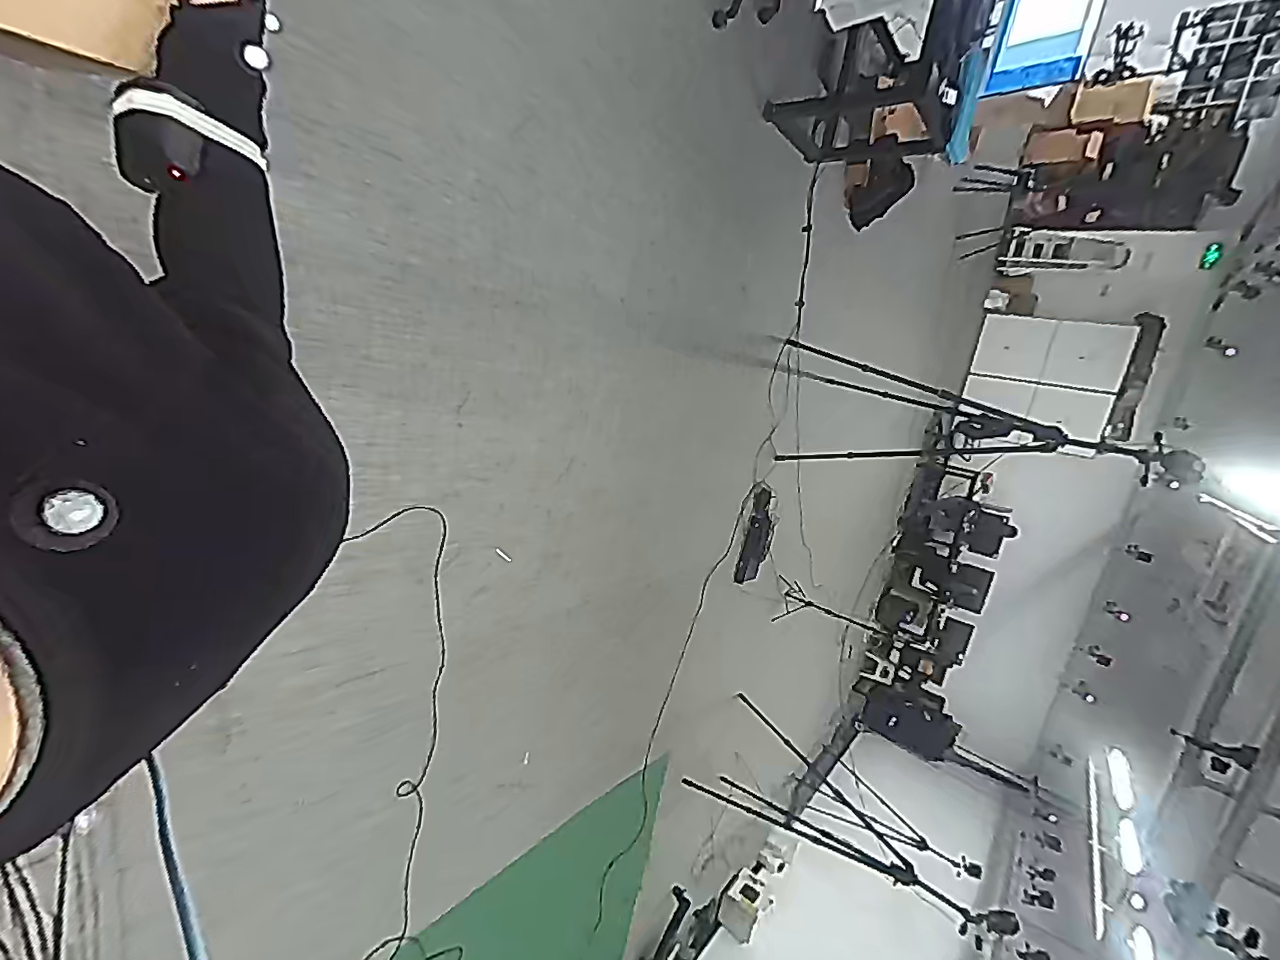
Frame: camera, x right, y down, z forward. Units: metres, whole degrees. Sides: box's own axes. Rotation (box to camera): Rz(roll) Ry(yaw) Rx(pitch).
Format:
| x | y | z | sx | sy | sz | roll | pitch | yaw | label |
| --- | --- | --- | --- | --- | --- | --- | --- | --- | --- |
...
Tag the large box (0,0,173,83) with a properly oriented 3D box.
| x | y | z | sx | sy | sz | roll | pitch | yaw | label |
| --- | --- | --- | --- | --- | --- | --- | --- | --- | --- |
| -0.580 | -0.483 | 0.302 | 0.408 | 0.320 | 0.320 | -18 | 128 | -54 | large box |
